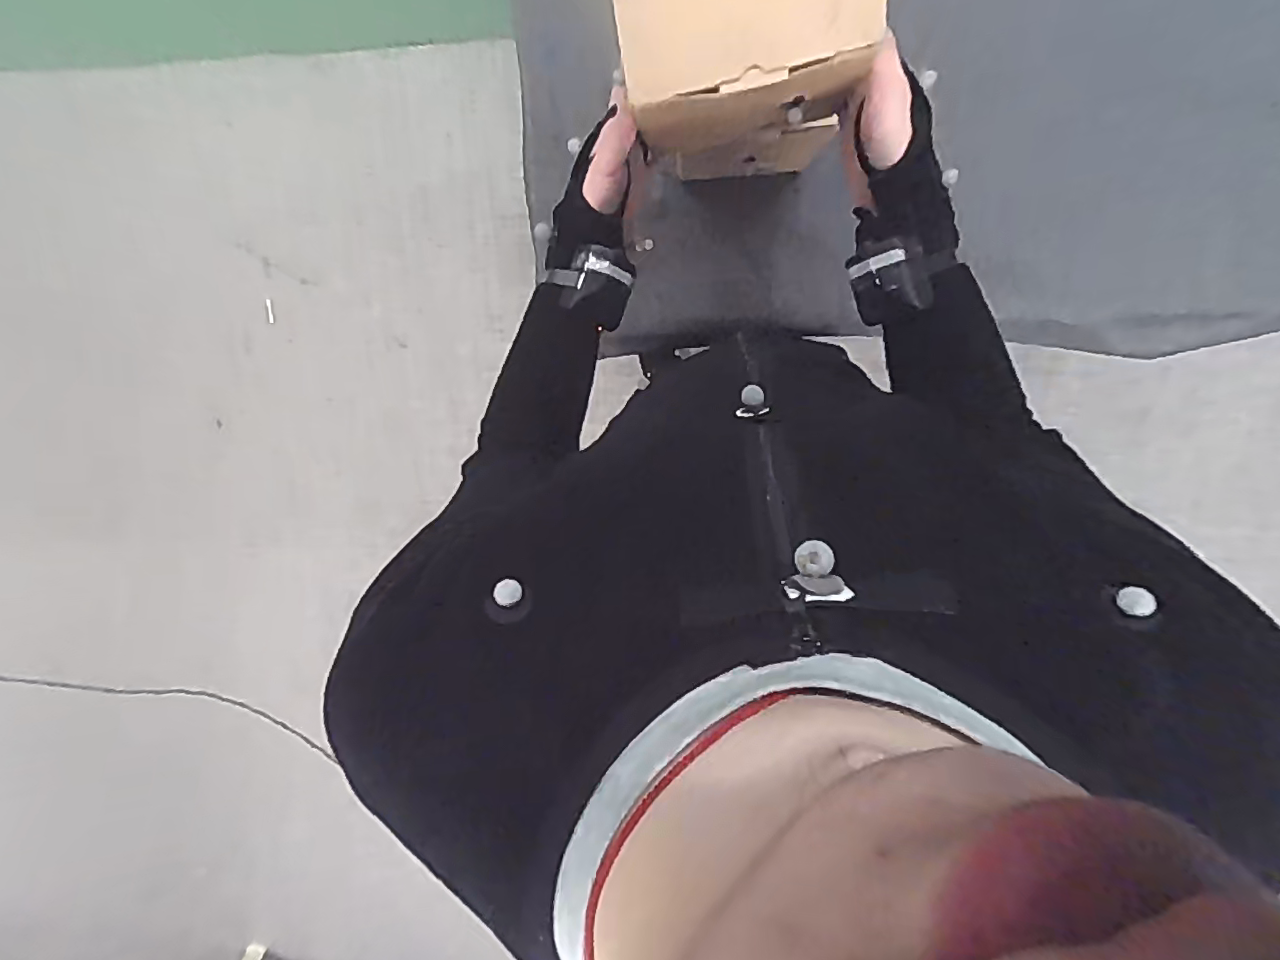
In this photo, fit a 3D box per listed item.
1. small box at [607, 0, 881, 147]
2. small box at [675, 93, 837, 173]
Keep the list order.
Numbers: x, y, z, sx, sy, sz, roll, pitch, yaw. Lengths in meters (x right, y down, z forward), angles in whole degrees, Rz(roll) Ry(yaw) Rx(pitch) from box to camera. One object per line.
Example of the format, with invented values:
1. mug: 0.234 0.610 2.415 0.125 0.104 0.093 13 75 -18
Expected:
1. small box: 0.064 -0.362 0.391 0.168 0.176 0.179 -8 110 9
2. small box: 0.119 -0.458 0.605 0.168 0.176 0.179 -3 108 4
